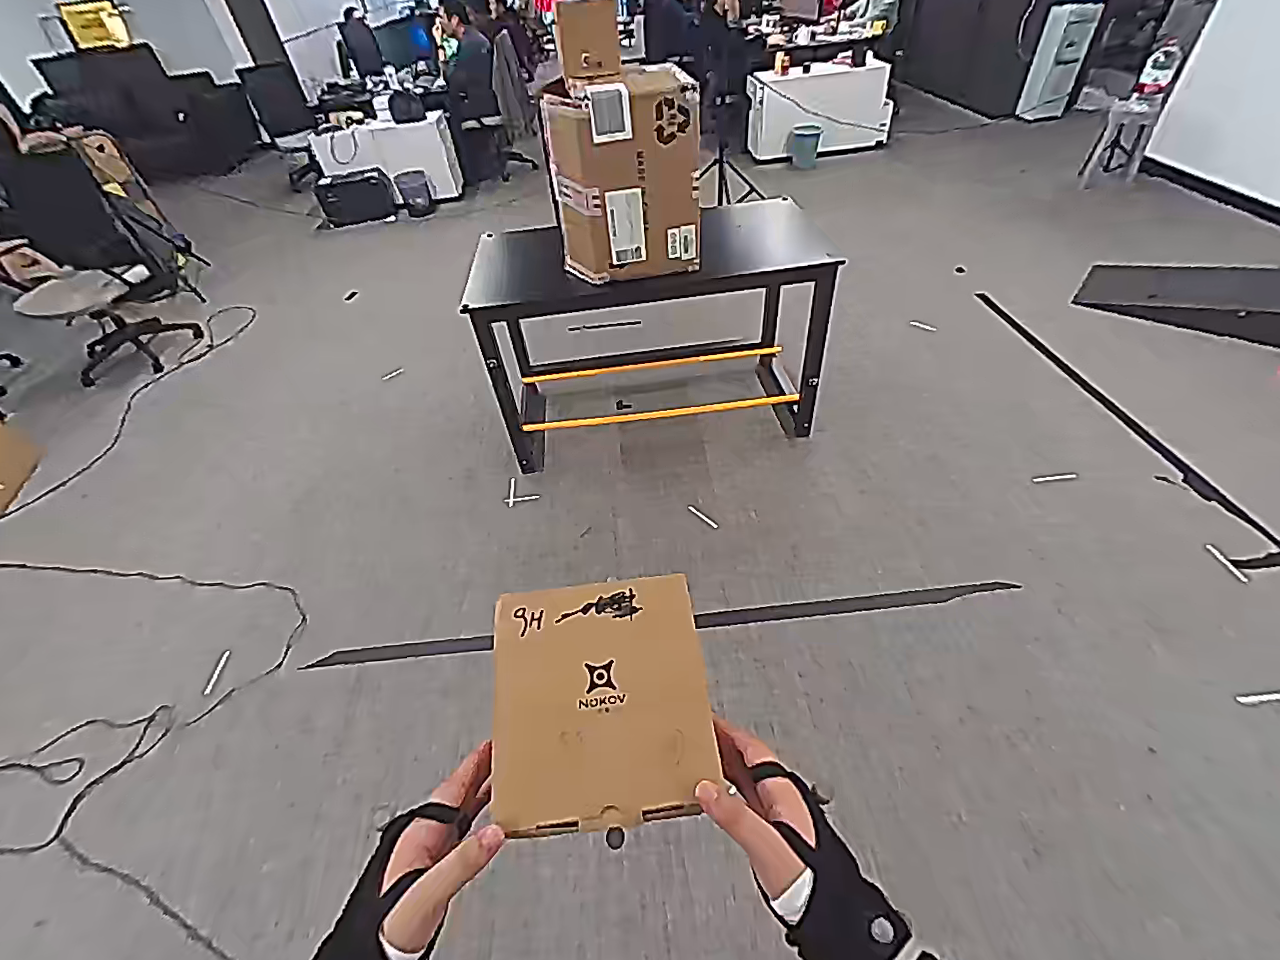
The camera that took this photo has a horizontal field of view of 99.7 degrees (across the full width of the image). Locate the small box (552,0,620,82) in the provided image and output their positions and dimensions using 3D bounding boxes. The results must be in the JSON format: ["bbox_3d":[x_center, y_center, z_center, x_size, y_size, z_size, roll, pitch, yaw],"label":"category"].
[{"bbox_3d":[-0.154,-1.248,1.536,0.168,0.176,0.179,-10,43,-5],"label":"small box"}]
